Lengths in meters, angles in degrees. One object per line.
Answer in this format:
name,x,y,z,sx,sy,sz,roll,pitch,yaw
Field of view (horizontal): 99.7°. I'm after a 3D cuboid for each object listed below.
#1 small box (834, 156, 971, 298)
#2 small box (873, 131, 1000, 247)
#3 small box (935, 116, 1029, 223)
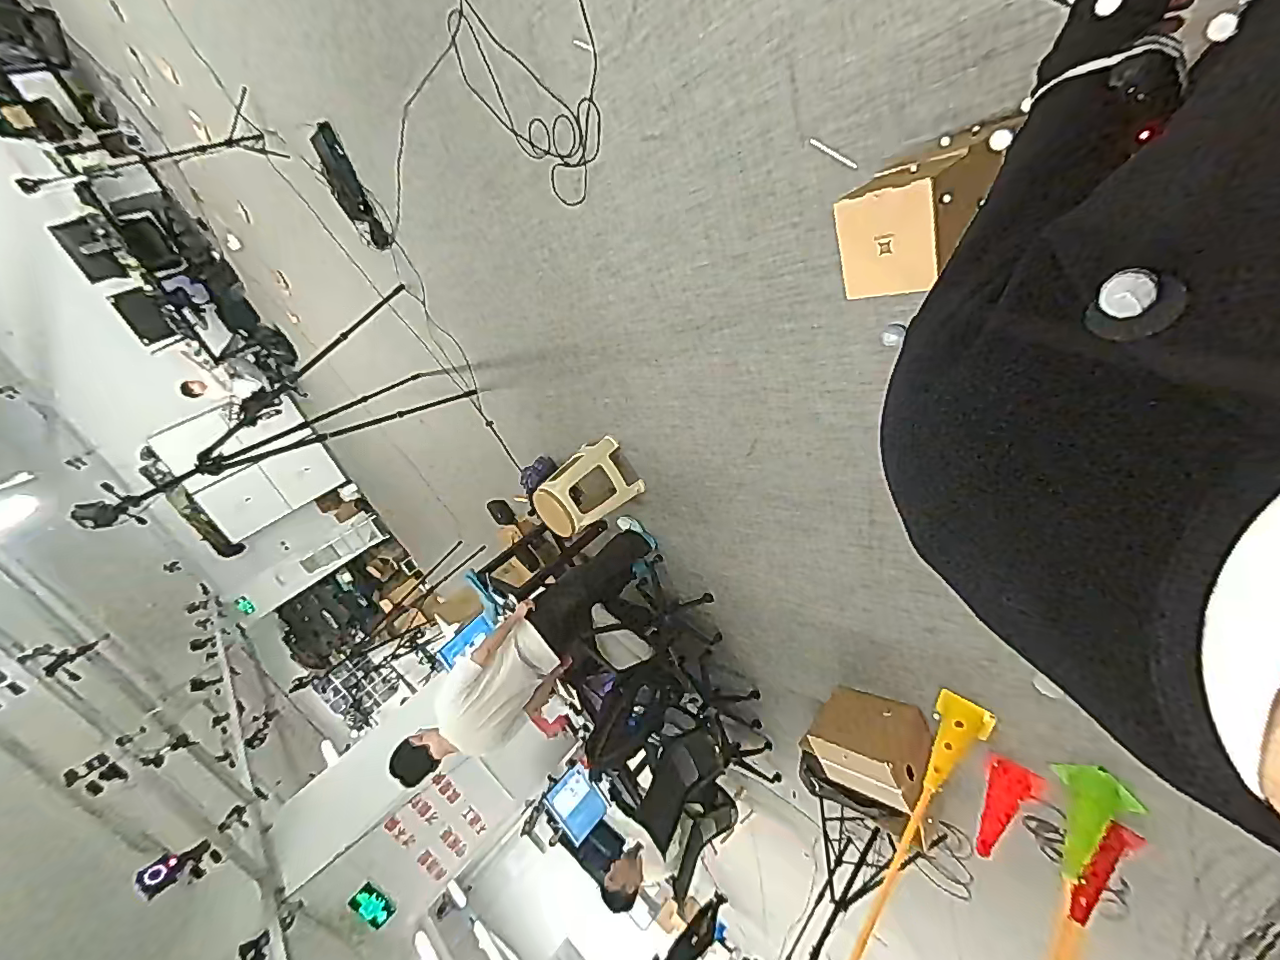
small box,0.476,-0.448,0.970,0.168,0.176,0.179,11,130,47
small box,0.580,-0.544,1.051,0.168,0.176,0.179,11,131,47
small box,0.694,-0.632,1.131,0.179,0.176,0.168,10,130,47
